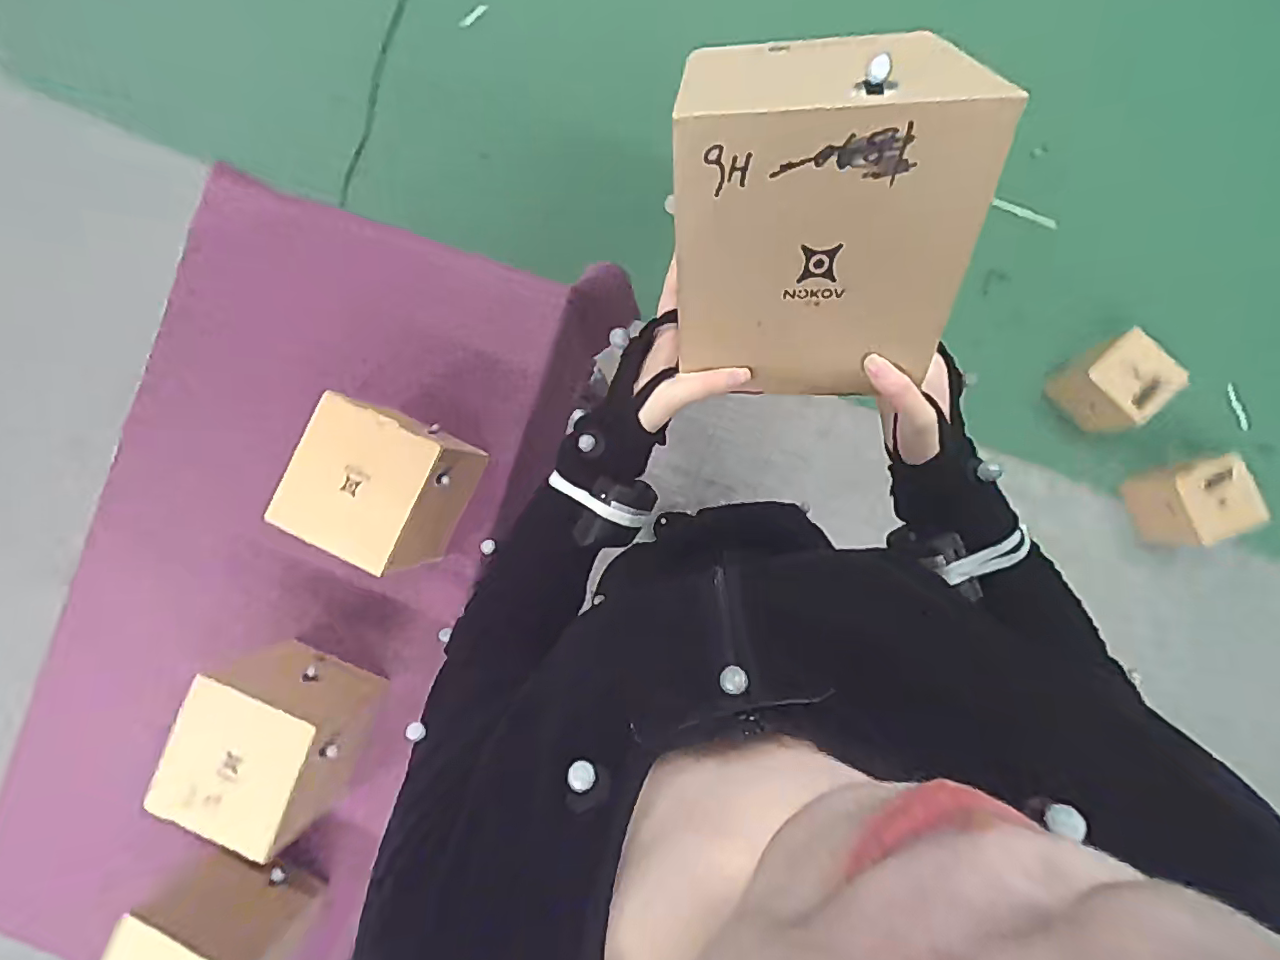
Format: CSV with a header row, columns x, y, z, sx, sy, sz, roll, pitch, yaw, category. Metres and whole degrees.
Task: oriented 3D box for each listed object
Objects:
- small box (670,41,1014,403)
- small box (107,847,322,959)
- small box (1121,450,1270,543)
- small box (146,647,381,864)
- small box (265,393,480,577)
x,y,z,sx,sy,sz,roll,pitch,yaw,category
0.111,-0.176,0.376,0.168,0.179,0.176,3,48,8,small box
-0.568,0.635,0.717,0.168,0.176,0.179,25,89,4,small box
1.367,0.043,1.347,0.168,0.176,0.179,-24,87,2,small box
-0.481,0.347,0.723,0.168,0.176,0.179,21,89,5,small box
-0.343,0.009,0.730,0.168,0.176,0.179,25,89,4,small box
